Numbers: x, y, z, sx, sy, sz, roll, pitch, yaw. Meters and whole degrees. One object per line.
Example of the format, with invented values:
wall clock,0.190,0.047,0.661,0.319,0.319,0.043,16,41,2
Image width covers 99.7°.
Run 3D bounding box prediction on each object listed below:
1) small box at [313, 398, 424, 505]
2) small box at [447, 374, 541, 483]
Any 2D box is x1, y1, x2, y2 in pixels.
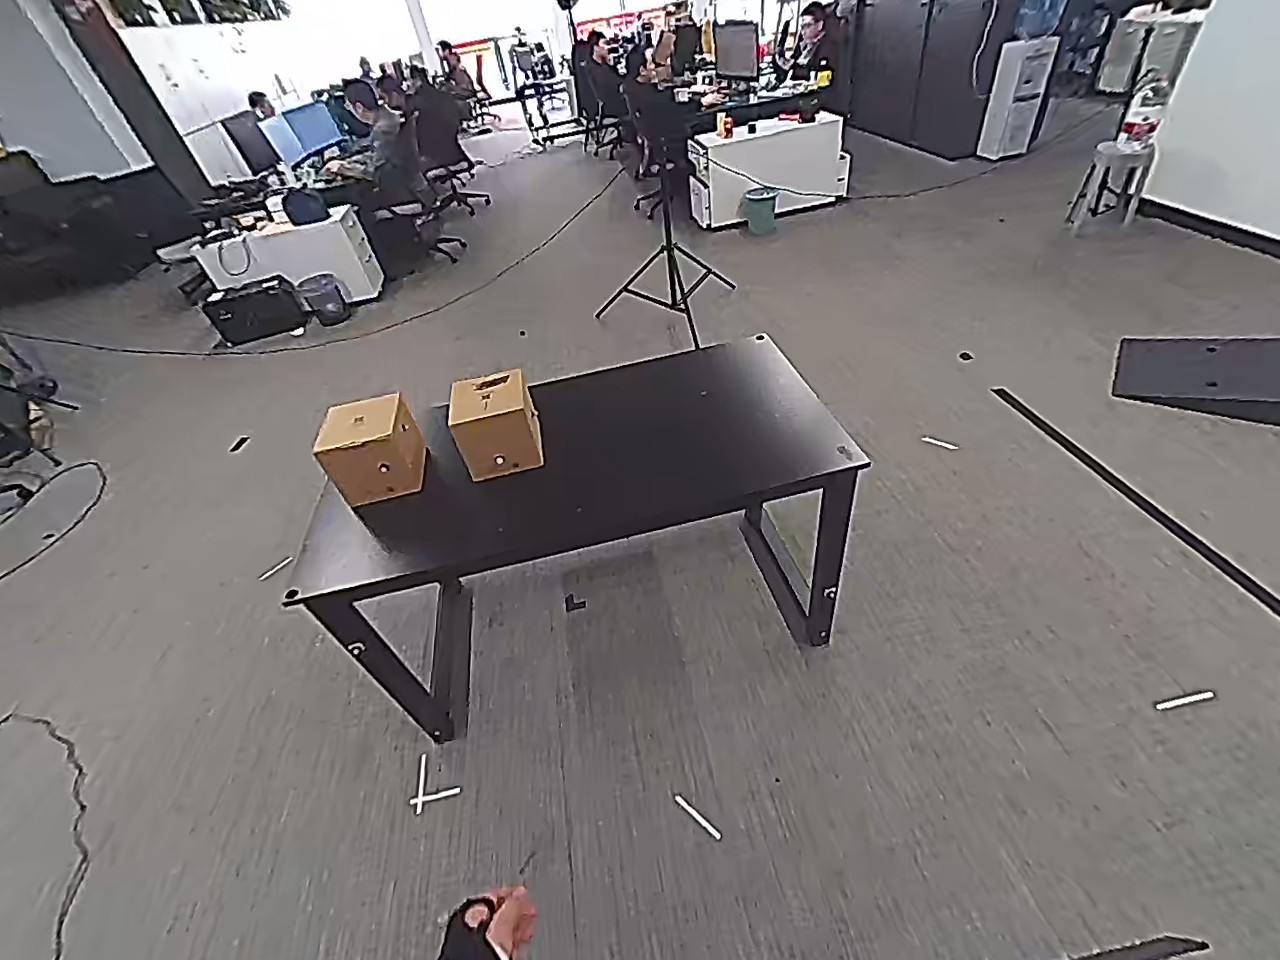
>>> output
small box,-0.616,-0.060,1.253,0.168,0.176,0.179,-13,41,-5
small box,-0.335,-0.120,1.262,0.168,0.176,0.179,-14,43,-4
